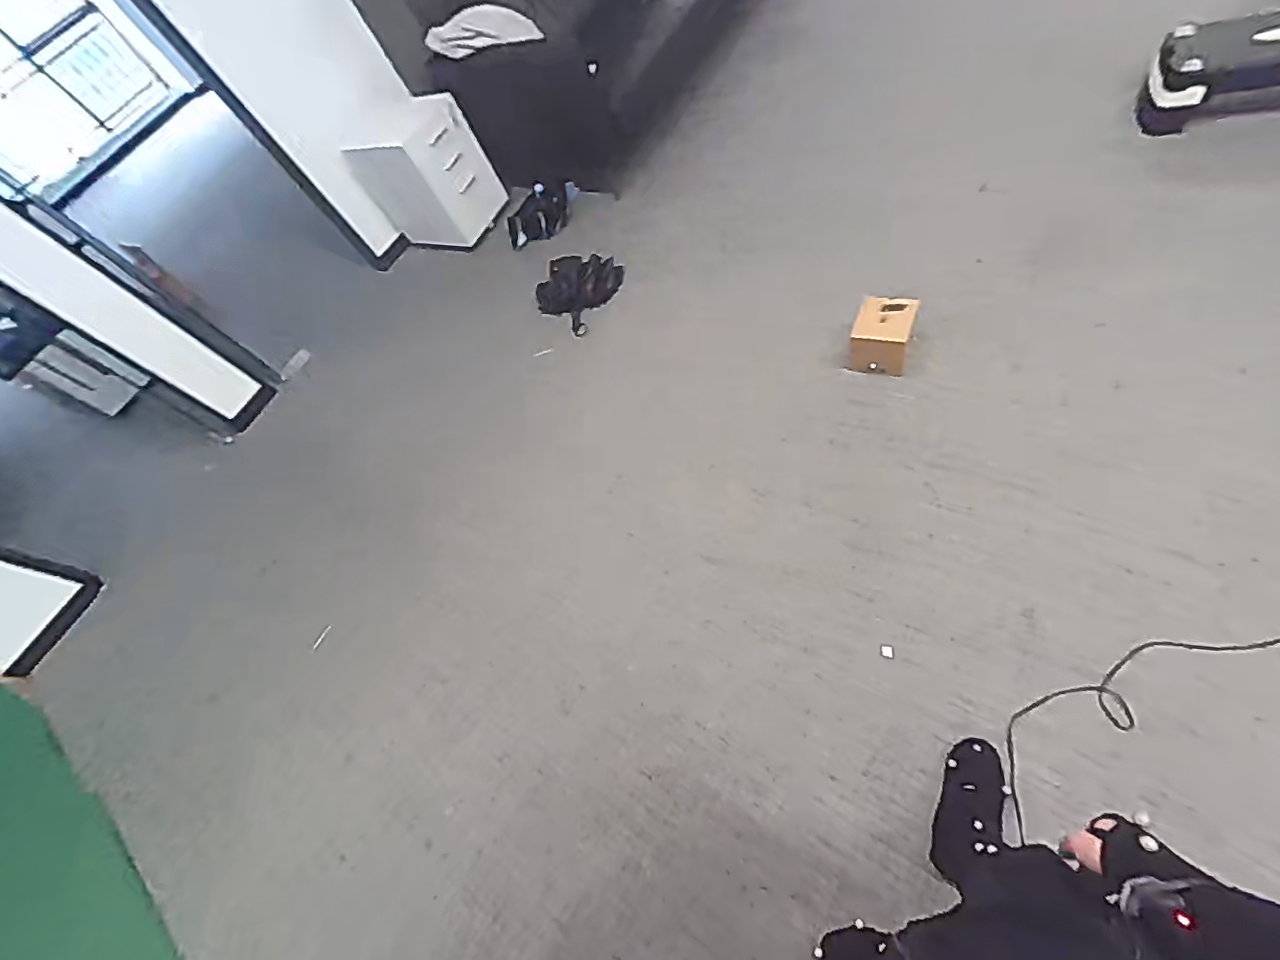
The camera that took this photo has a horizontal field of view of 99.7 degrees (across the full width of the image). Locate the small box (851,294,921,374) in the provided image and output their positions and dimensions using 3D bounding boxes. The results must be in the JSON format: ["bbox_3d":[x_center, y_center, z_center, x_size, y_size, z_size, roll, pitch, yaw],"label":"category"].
[{"bbox_3d":[0.785,-0.468,1.734,0.168,0.176,0.179,15,69,29],"label":"small box"}]
